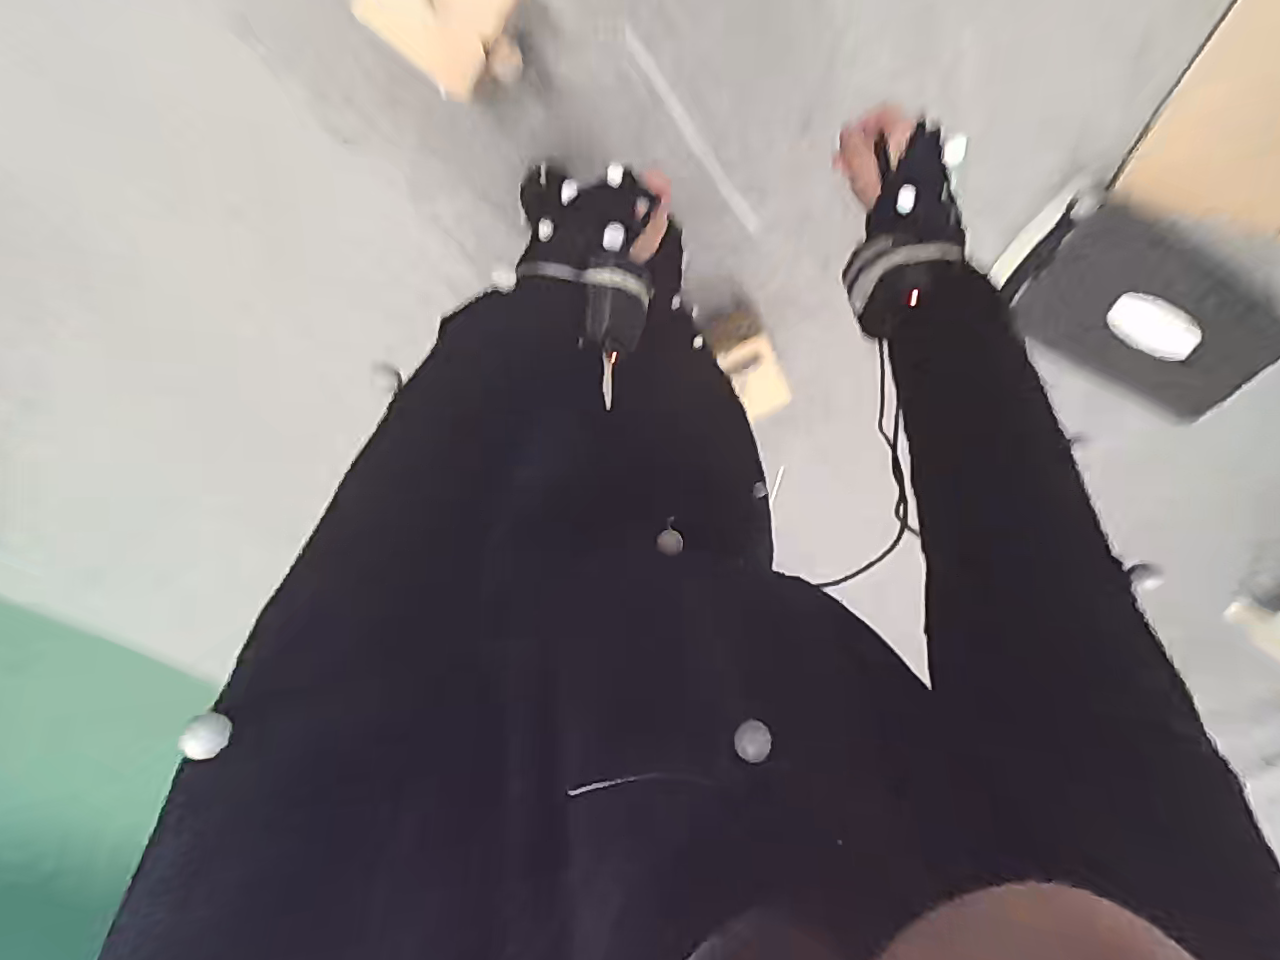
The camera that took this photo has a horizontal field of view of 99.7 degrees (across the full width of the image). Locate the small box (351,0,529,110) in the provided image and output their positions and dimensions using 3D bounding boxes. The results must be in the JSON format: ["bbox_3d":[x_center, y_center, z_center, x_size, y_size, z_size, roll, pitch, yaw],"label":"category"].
[{"bbox_3d":[-0.288,-0.698,0.810,0.179,0.176,0.168,30,122,-24],"label":"small box"}]
